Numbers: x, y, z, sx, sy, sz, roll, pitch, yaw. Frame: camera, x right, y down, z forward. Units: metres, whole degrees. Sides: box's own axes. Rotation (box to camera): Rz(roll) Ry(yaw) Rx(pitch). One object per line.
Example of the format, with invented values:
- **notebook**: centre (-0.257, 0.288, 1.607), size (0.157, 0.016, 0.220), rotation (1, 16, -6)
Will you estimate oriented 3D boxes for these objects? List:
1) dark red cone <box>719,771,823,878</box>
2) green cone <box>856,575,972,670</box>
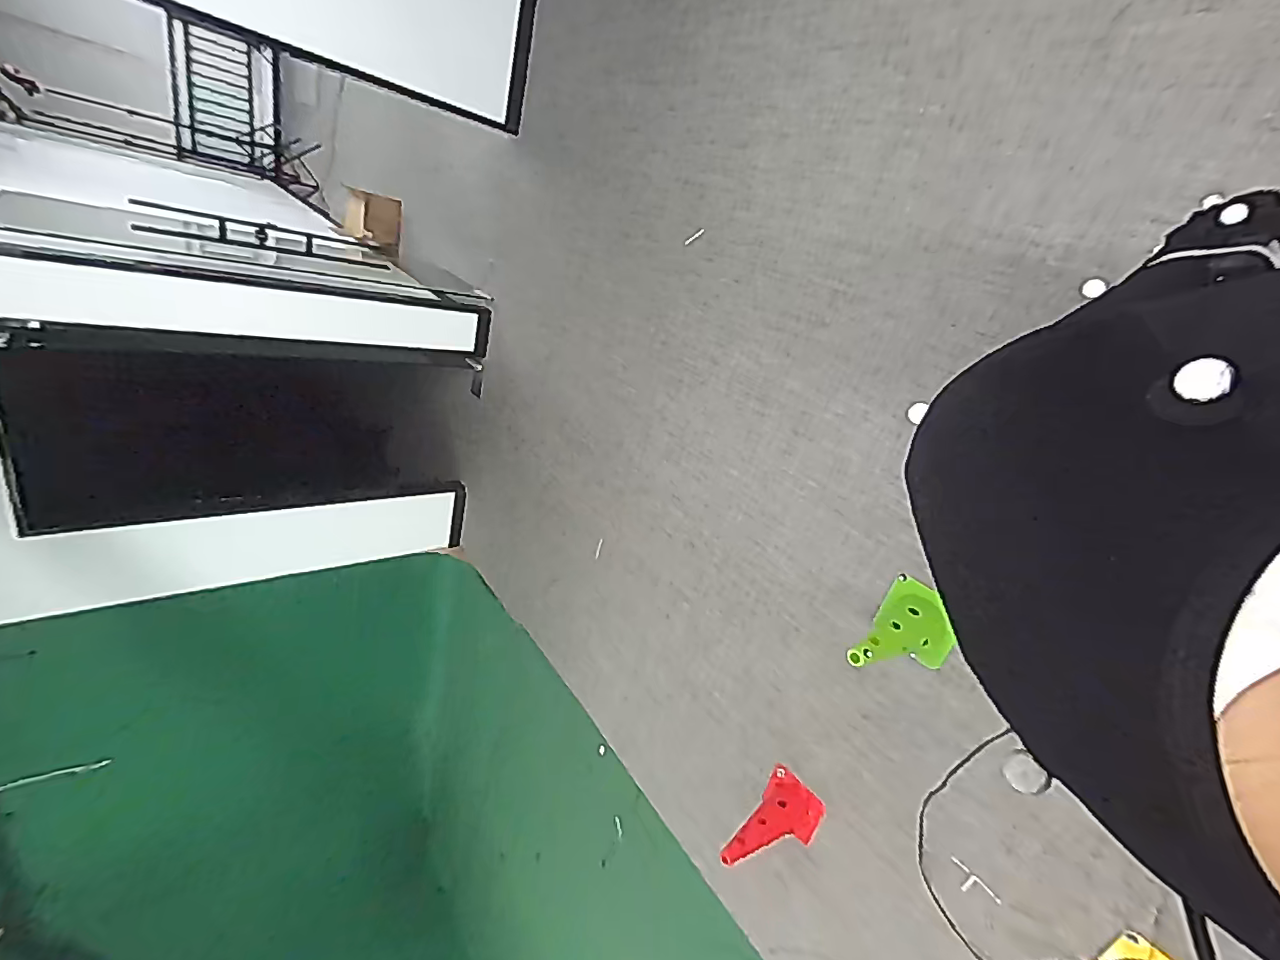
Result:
- **dark red cone**: centre (0.392, 1.131, 1.721), size (0.202, 0.394, 0.201), rotation (32, 120, 43)
- **green cone**: centre (0.645, 0.403, 1.368), size (0.202, 0.368, 0.200), rotation (36, 121, 40)
